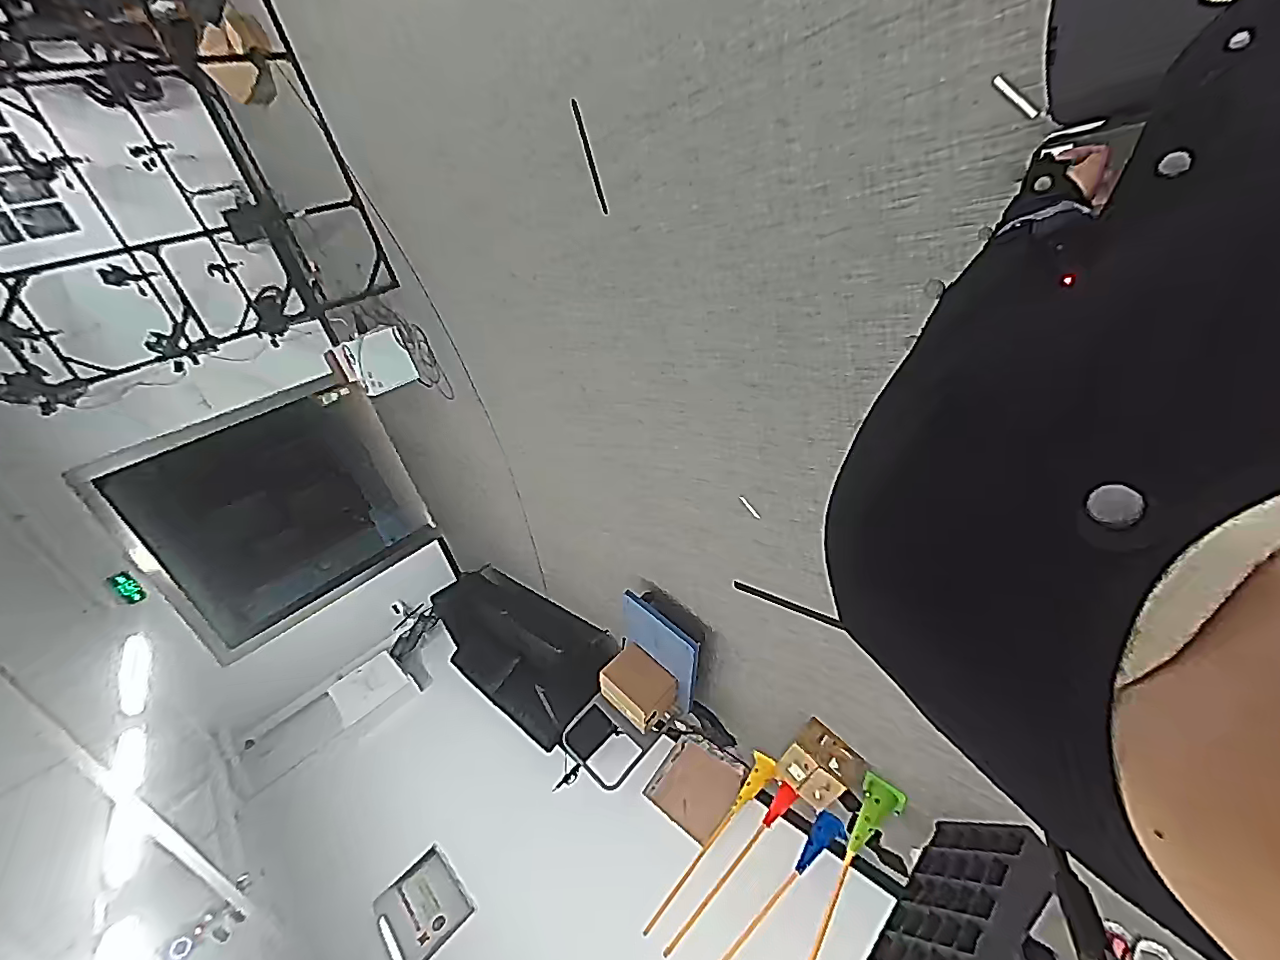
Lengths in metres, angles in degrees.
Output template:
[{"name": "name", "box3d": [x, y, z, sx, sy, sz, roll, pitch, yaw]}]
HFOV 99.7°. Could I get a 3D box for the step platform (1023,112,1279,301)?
[{"name": "step platform", "box3d": [1.059, -0.460, 0.902, 0.684, 0.204, 0.286, 20, 132, 45]}]
